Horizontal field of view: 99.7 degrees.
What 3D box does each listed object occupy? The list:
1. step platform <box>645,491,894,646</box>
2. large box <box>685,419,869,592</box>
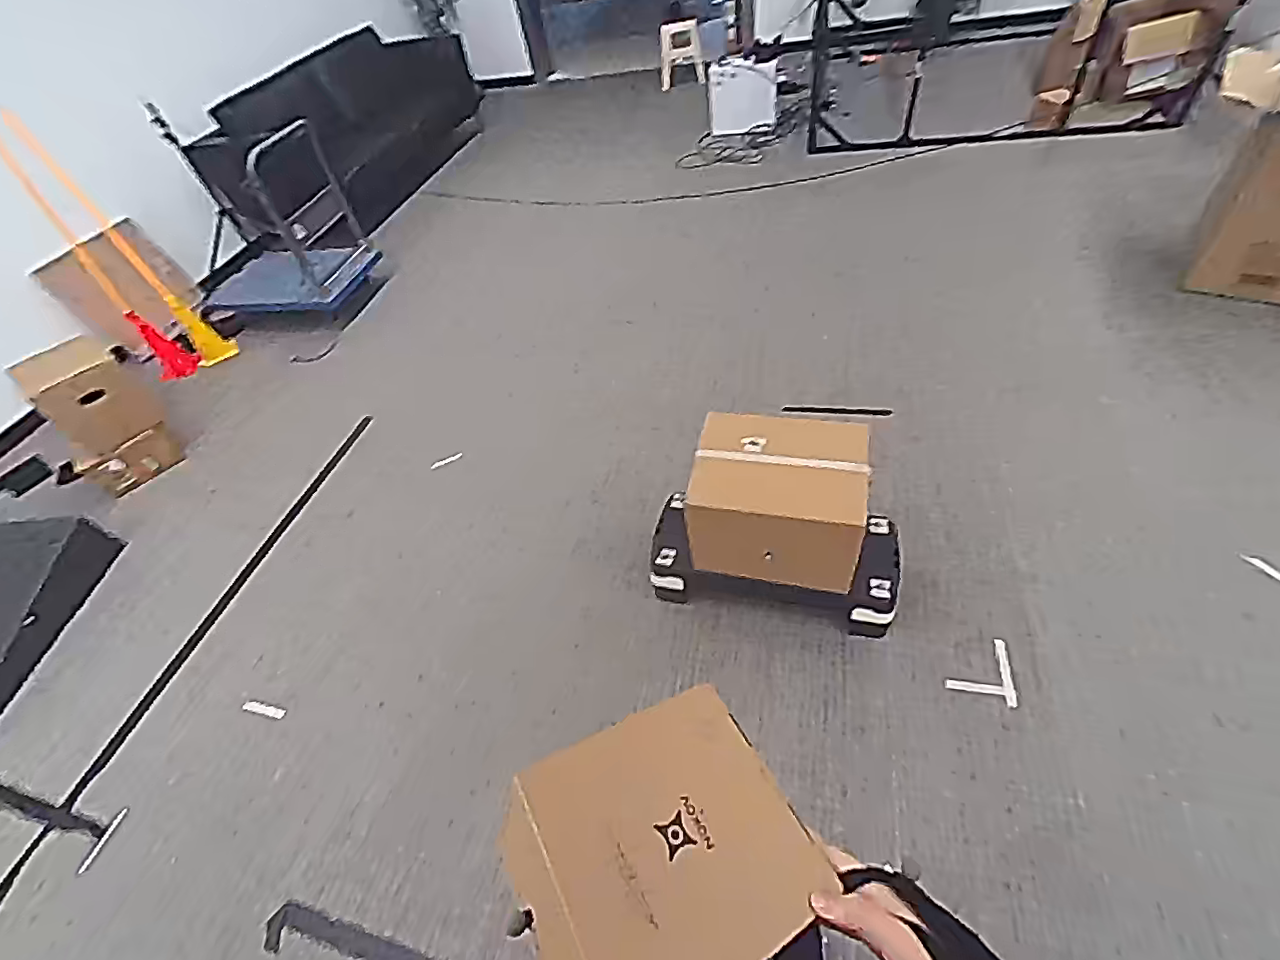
[{"bbox_3d":[0.360,0.235,1.564,0.684,0.204,0.286,9,53,20],"label":"step platform"},{"bbox_3d":[0.356,0.064,1.393,0.408,0.320,0.320,5,51,17],"label":"large box"}]
